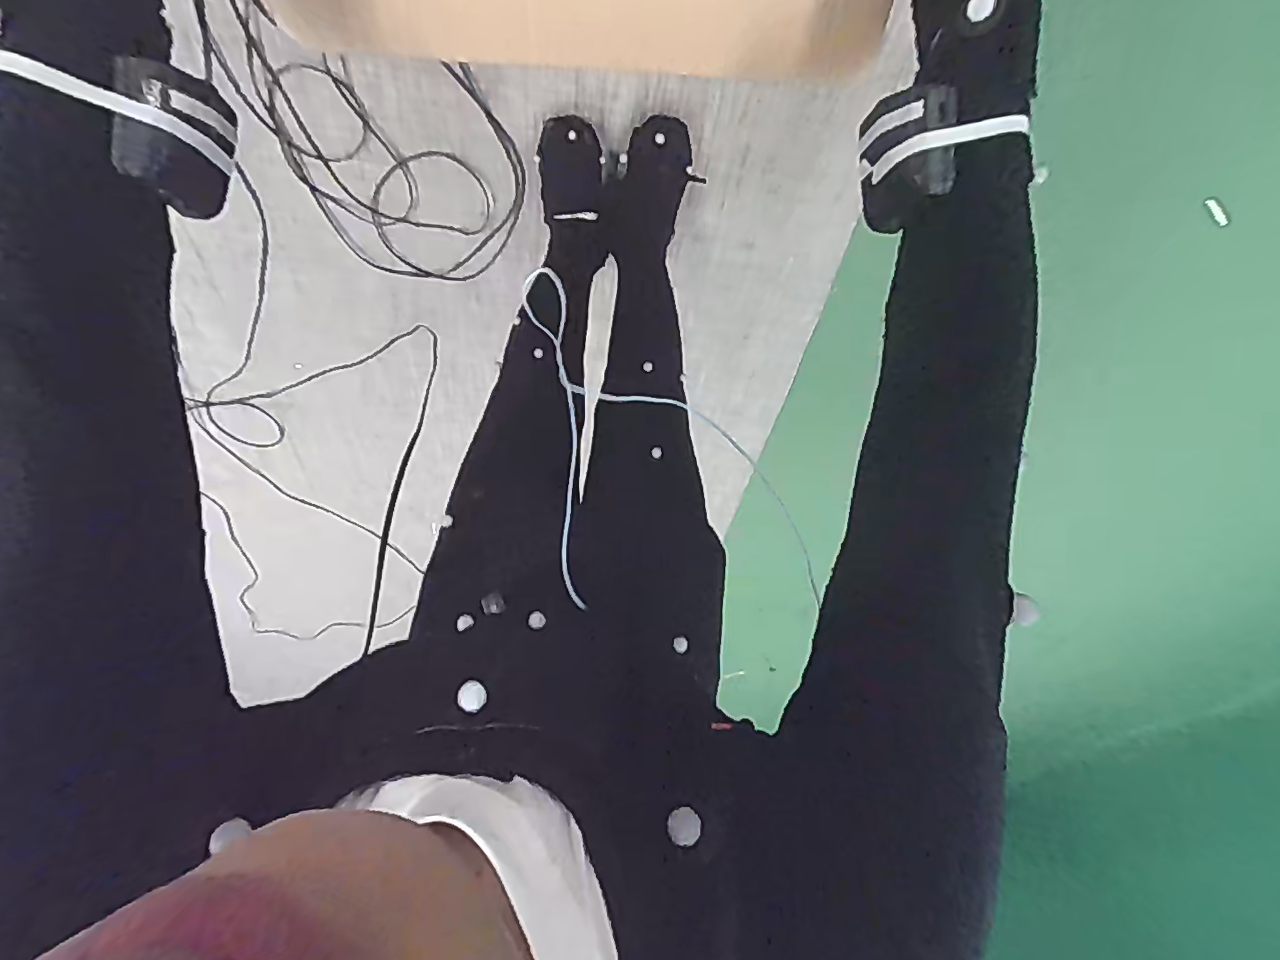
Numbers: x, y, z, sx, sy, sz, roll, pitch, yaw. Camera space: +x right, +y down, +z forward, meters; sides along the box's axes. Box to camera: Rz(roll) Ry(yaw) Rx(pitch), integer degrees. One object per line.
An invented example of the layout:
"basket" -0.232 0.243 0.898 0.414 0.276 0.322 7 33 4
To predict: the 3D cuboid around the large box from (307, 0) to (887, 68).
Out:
"large box" -0.027 -0.519 0.381 0.408 0.320 0.320 1 138 -3
